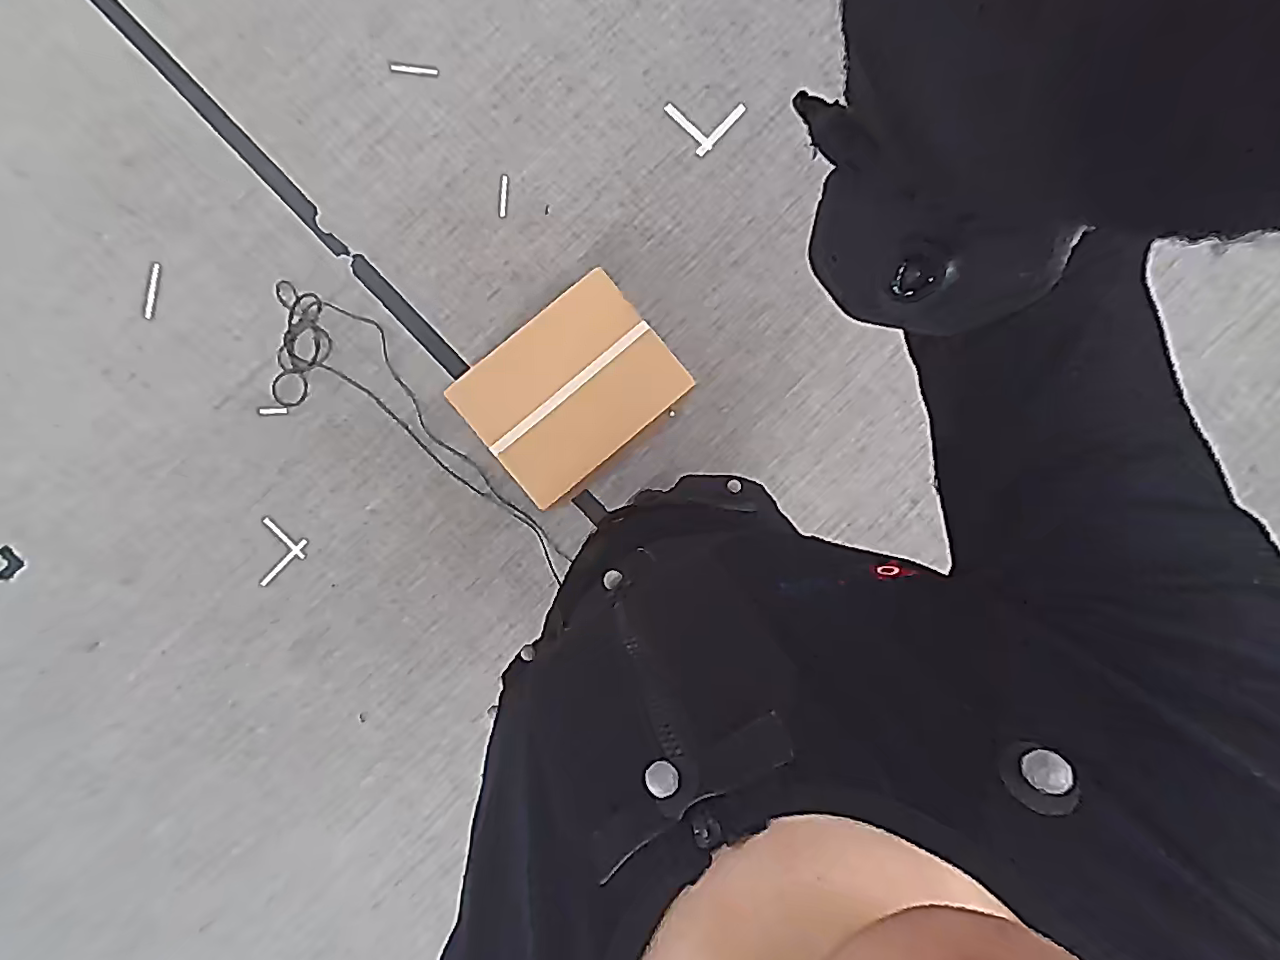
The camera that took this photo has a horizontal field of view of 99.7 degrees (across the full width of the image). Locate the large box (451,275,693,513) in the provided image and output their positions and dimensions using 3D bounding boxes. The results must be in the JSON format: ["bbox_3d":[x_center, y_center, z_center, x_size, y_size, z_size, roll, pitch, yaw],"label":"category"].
[{"bbox_3d":[-0.138,-0.174,1.239,0.408,0.320,0.320,-40,89,-2],"label":"large box"}]
